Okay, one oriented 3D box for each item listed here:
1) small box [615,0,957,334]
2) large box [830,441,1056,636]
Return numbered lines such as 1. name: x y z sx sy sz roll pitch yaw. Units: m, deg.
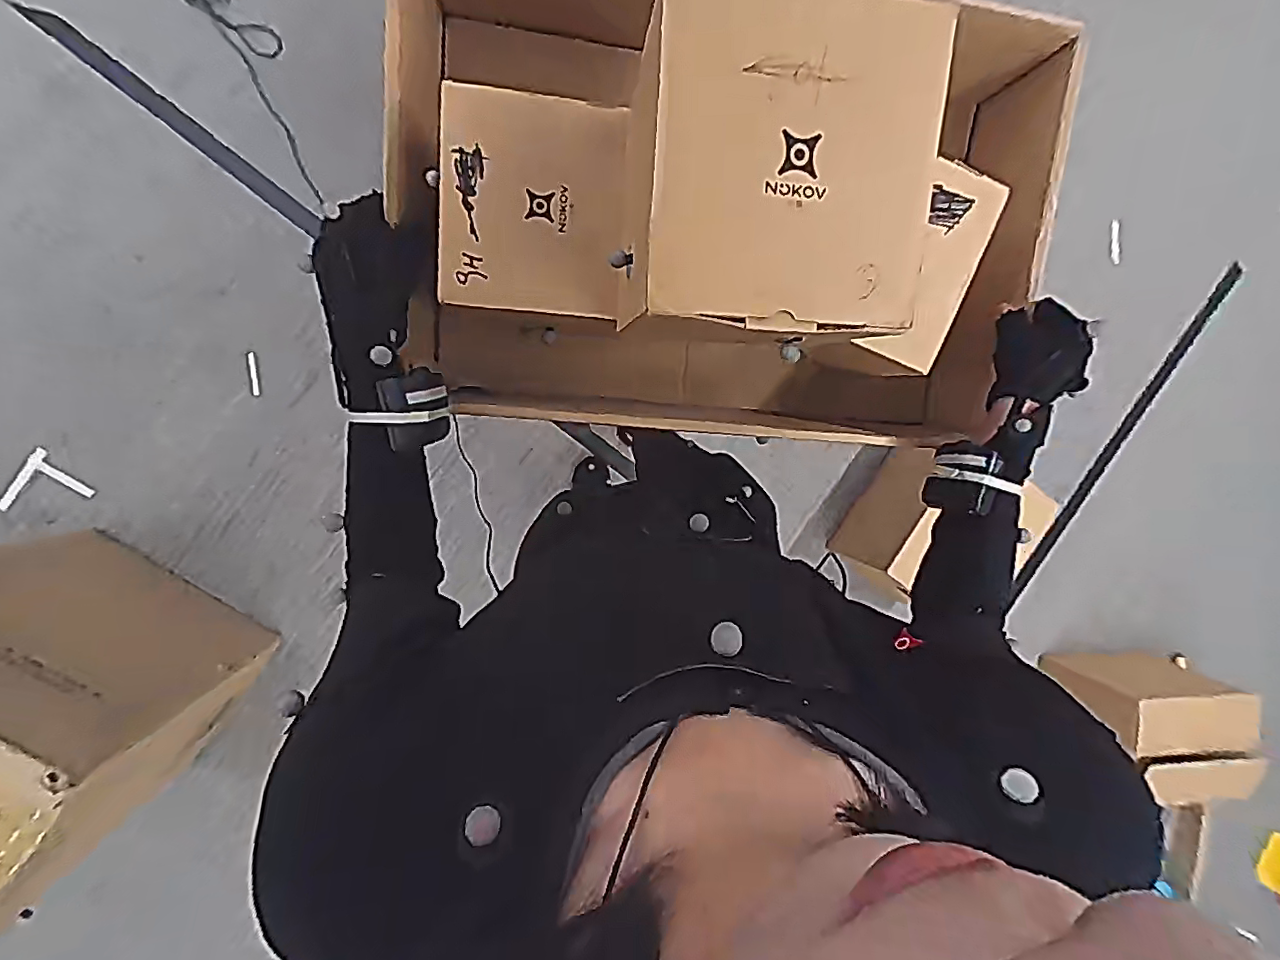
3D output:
1. small box: 0.074 -0.196 0.369 0.168 0.176 0.179 1 100 -8
2. large box: 0.816 0.140 1.500 0.320 0.320 0.408 34 89 -9
